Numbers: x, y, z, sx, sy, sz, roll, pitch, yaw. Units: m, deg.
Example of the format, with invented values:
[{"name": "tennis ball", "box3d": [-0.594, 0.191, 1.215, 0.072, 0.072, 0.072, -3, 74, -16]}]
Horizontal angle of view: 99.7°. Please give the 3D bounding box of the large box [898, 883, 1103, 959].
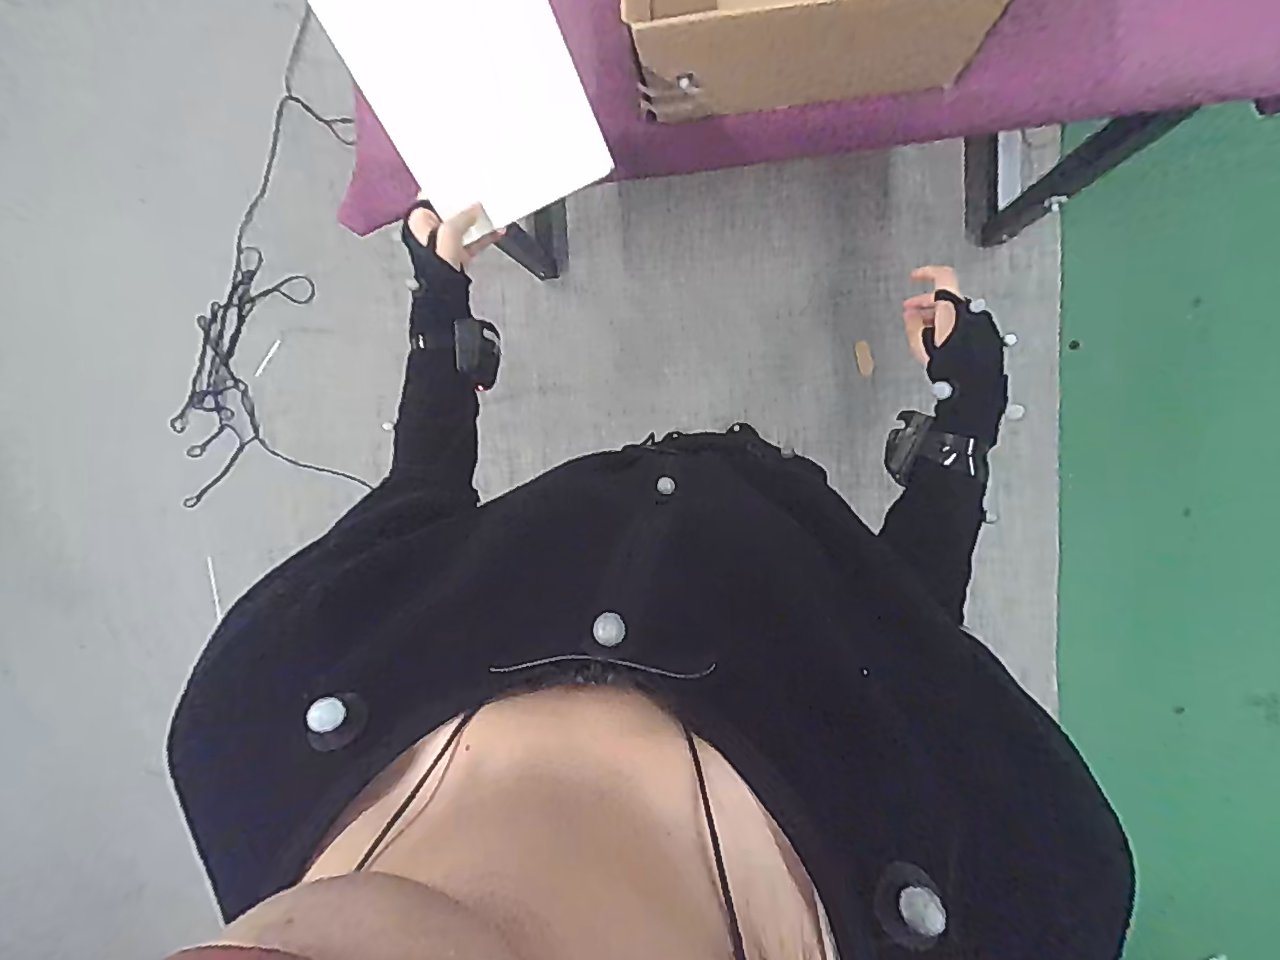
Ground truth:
[{"name": "large box", "box3d": [0.934, 1.298, 1.350, 0.408, 0.320, 0.320, -17, 94, 9]}]
